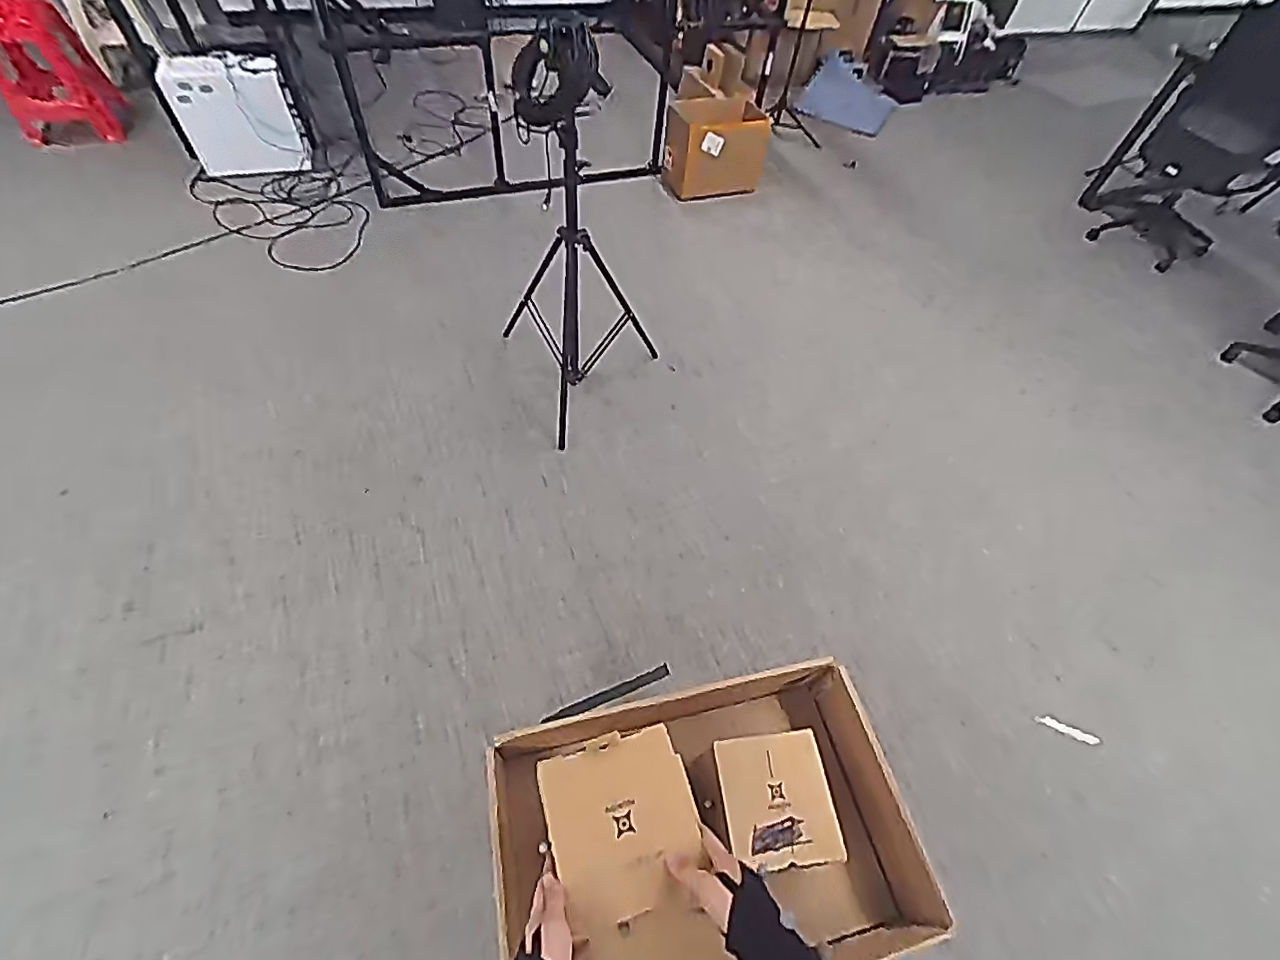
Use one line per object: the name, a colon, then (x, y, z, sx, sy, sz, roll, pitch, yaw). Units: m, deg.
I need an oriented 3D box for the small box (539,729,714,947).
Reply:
small box: (-0.030, 0.443, 0.674, 0.168, 0.176, 0.179, -11, 54, -16)
